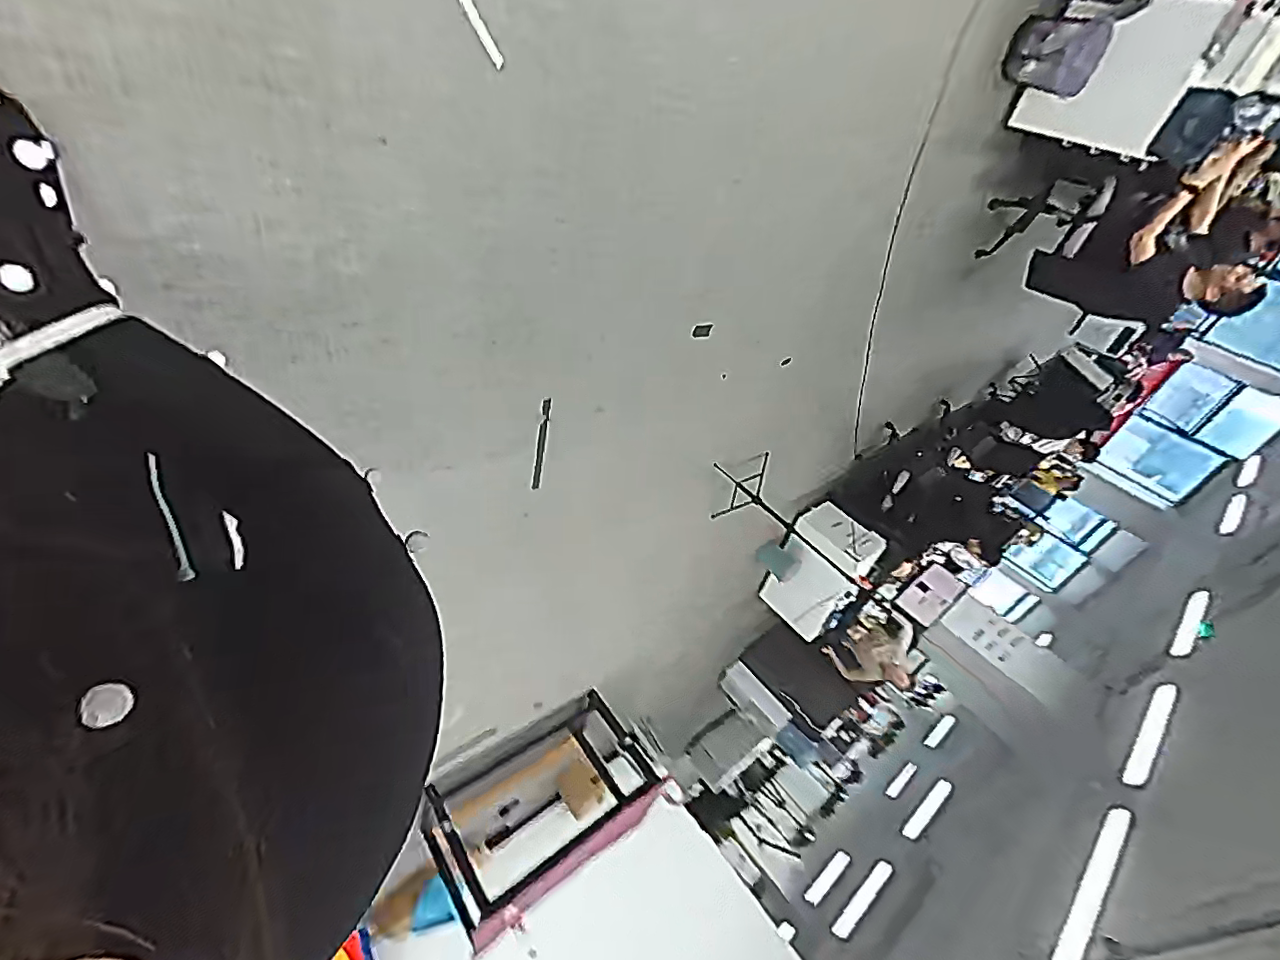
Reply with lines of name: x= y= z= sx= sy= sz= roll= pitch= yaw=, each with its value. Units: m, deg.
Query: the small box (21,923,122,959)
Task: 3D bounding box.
small box: x=-1.407 y=1.244 z=1.328 sx=0.168 sy=0.176 sz=0.179 roll=-20 pitch=141 yaw=-37

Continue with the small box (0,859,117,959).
small box: x=-1.512 y=1.146 z=1.410 sx=0.179 sy=0.176 sz=0.168 roll=-18 pitch=139 yaw=-39
